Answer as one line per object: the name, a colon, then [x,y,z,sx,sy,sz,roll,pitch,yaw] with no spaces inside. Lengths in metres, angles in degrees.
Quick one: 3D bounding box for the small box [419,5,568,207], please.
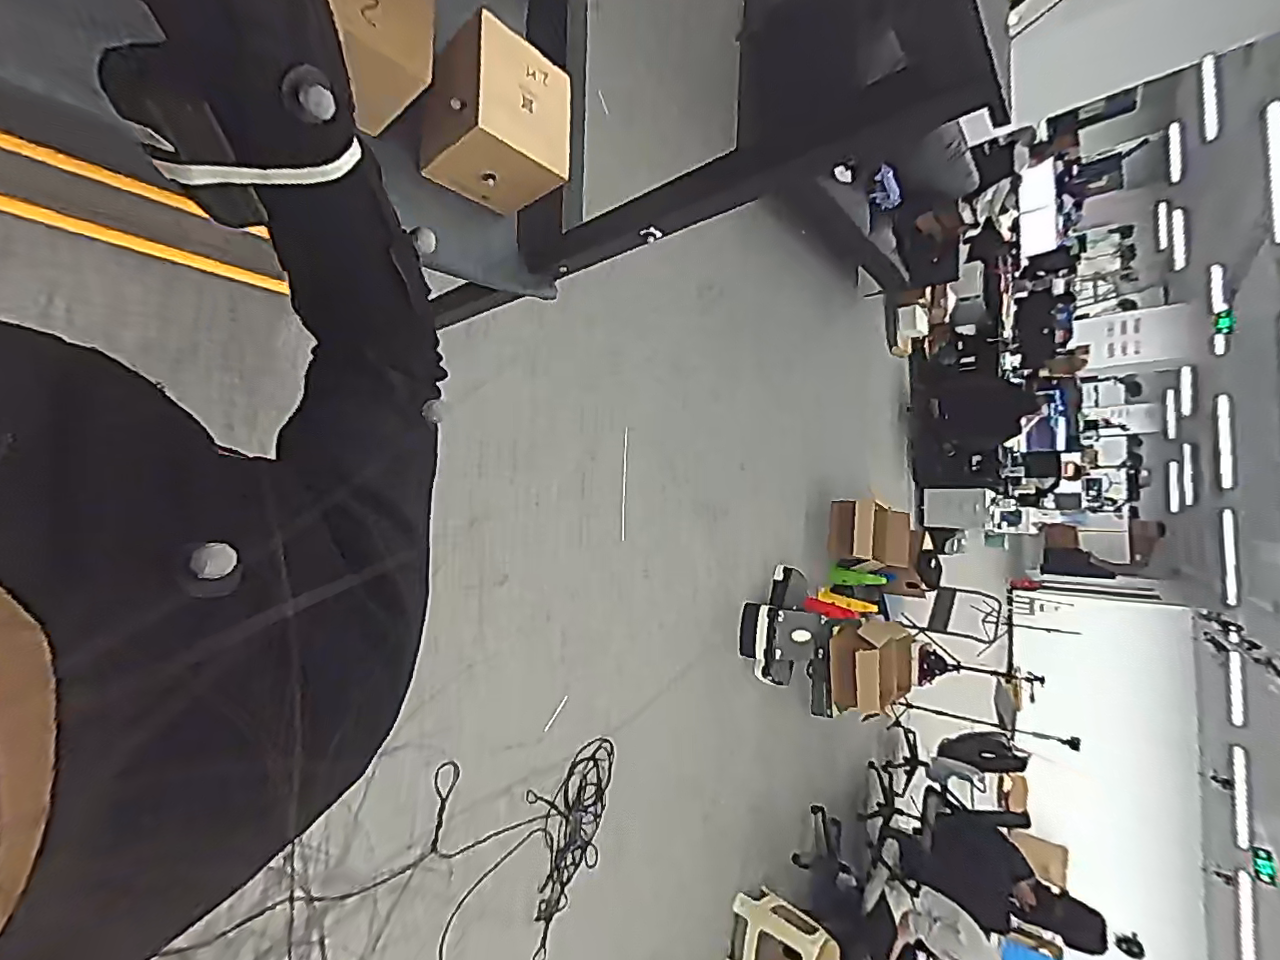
small box: [-0.233,-0.570,0.858,0.168,0.176,0.179,4,85,-50]
